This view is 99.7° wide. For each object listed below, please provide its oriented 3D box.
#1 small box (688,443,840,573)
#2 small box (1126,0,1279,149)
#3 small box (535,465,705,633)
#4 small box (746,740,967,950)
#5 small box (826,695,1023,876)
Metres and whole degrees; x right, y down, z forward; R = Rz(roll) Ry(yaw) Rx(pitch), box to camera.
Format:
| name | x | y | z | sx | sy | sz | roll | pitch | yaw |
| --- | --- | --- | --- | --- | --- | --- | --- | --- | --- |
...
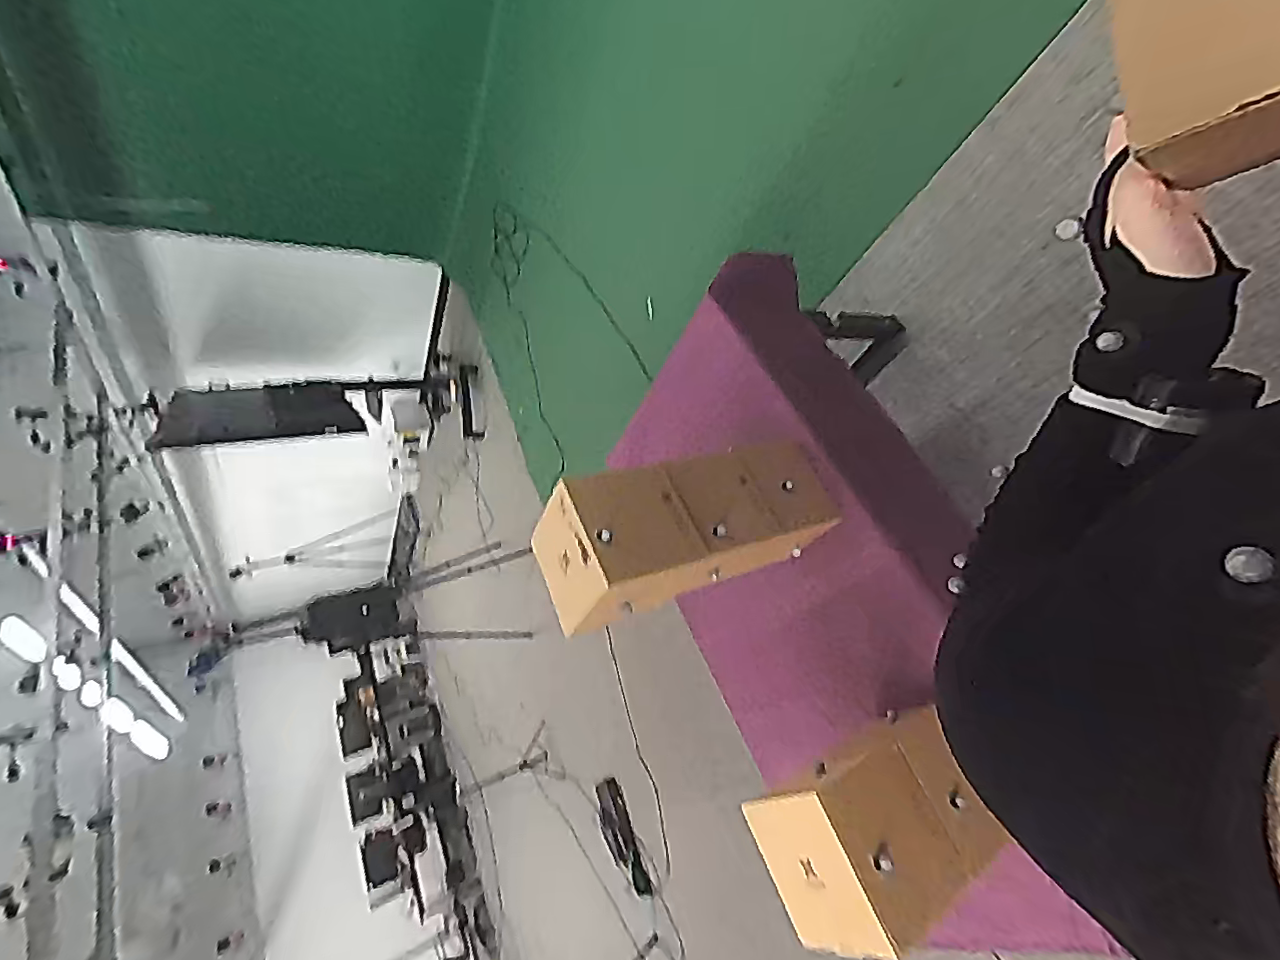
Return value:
| name | x | y | z | sx | sy | sz | roll | pitch | yaw |
| --- | --- | --- | --- | --- | --- | --- | --- | --- | --- |
| small box | 0.224 | 0.045 | 0.995 | 0.179 | 0.176 | 0.168 | 63 | 143 | 22 |
| small box | 0.305 | -0.253 | 0.204 | 0.168 | 0.176 | 0.179 | -5 | 100 | 51 |
| small box | -0.033 | 0.098 | 0.795 | 0.168 | 0.176 | 0.179 | 62 | 143 | 25 |
| small box | 0.282 | 0.468 | 0.719 | 0.179 | 0.176 | 0.168 | 63 | 142 | 22 |
| small box | 0.418 | 0.450 | 0.807 | 0.168 | 0.176 | 0.179 | -52 | 56 | 47 |
